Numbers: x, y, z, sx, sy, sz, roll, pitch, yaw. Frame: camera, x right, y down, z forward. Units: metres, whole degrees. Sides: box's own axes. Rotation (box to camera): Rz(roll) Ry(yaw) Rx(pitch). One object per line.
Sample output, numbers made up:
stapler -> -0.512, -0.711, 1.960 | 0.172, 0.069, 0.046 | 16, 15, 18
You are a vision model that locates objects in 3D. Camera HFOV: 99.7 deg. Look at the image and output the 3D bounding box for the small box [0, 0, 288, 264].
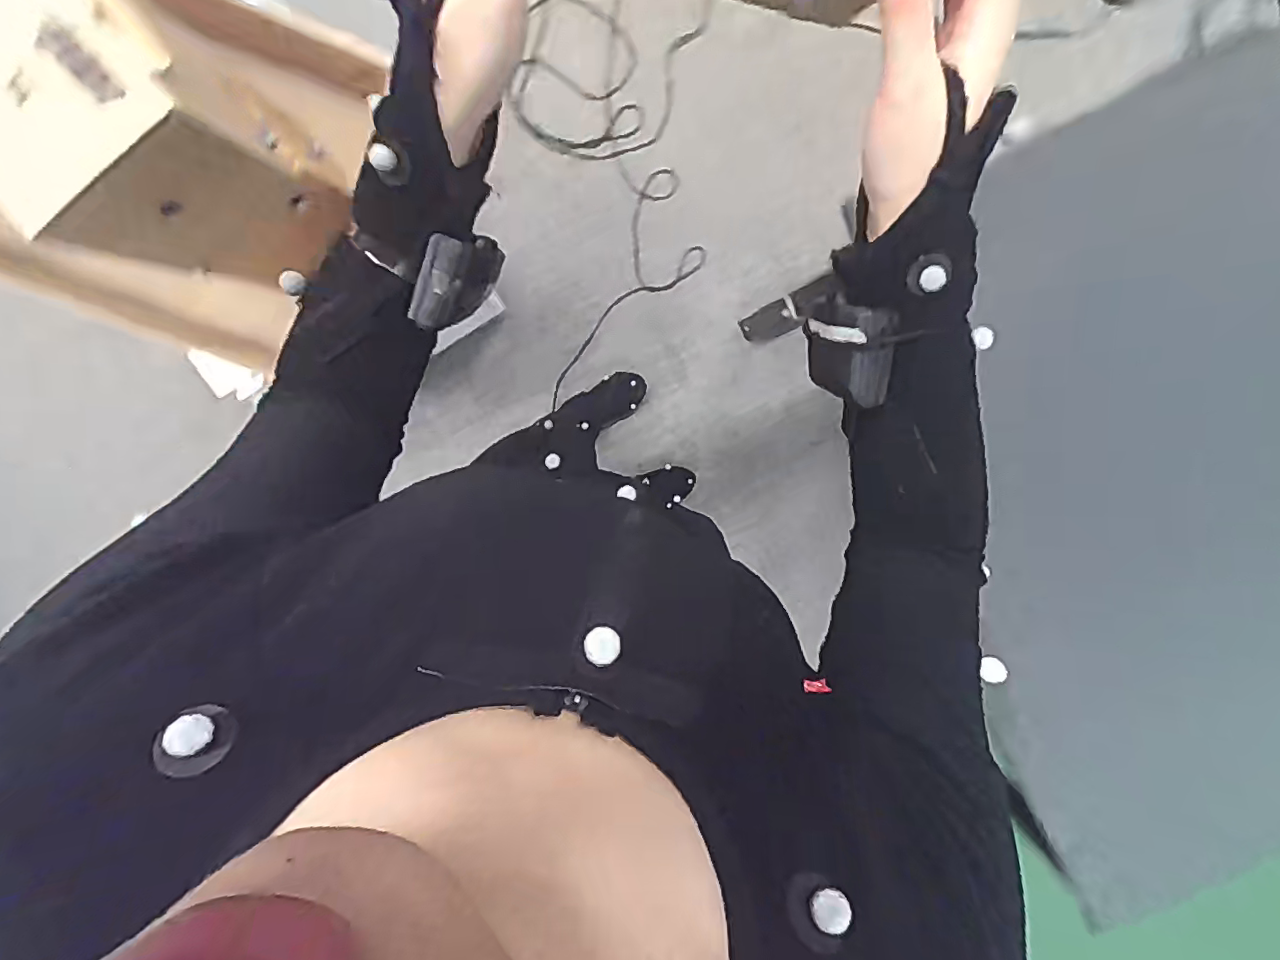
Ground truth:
small box -> -0.486, -0.339, 0.519 | 0.179, 0.176, 0.168 | -34, 98, 7
